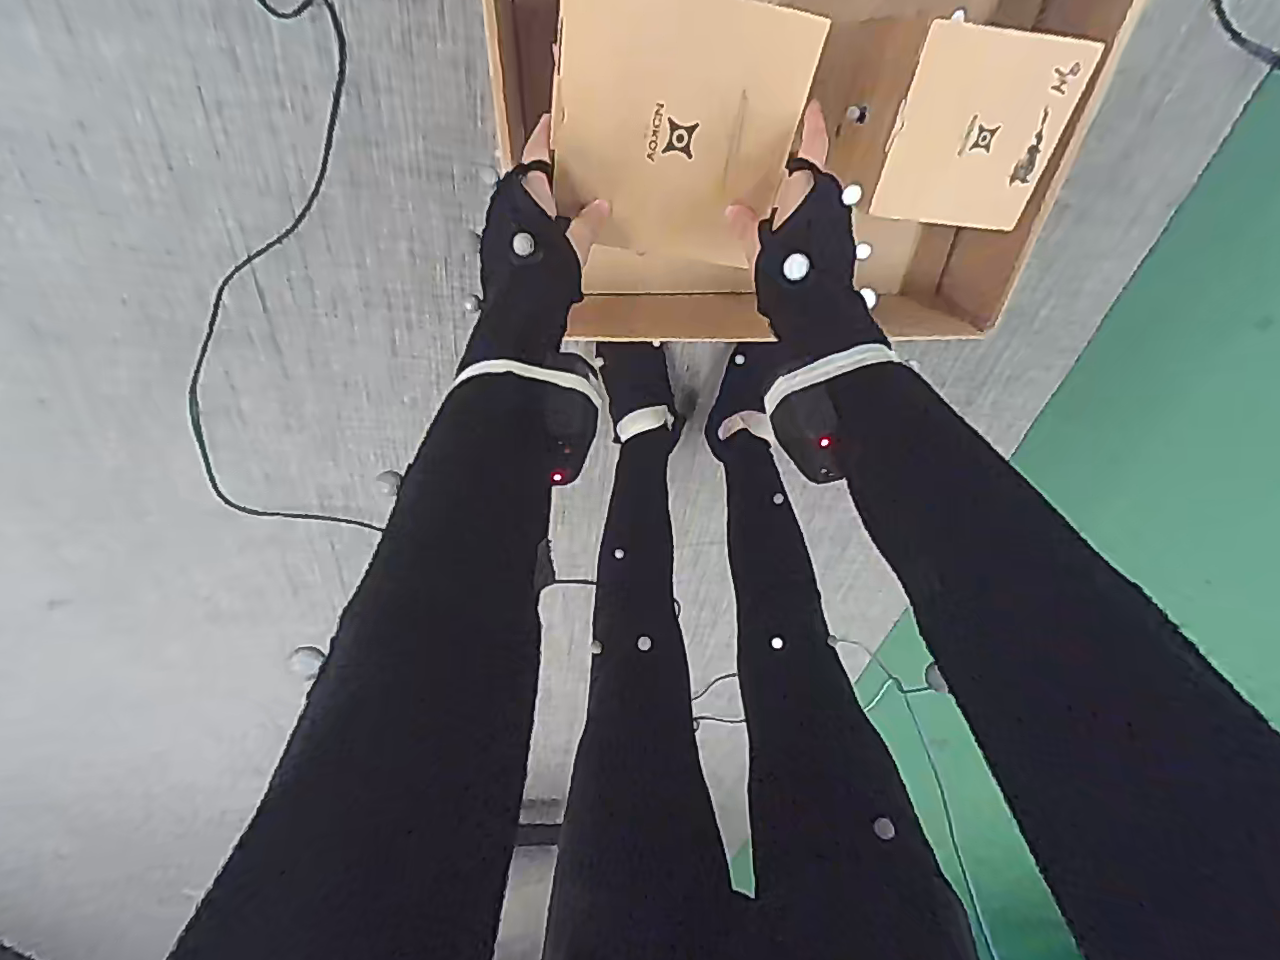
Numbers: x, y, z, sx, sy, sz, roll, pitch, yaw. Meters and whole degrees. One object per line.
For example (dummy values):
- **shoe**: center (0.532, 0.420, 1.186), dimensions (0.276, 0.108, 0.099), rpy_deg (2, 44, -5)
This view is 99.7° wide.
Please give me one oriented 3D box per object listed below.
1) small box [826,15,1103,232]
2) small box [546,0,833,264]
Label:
- **small box**: center (0.333, -0.395, 0.604), dimensions (0.179, 0.176, 0.168), rpy_deg (4, 129, -7)
- **small box**: center (0.021, -0.302, 0.448), dimensions (0.179, 0.176, 0.168), rpy_deg (5, 130, -11)
